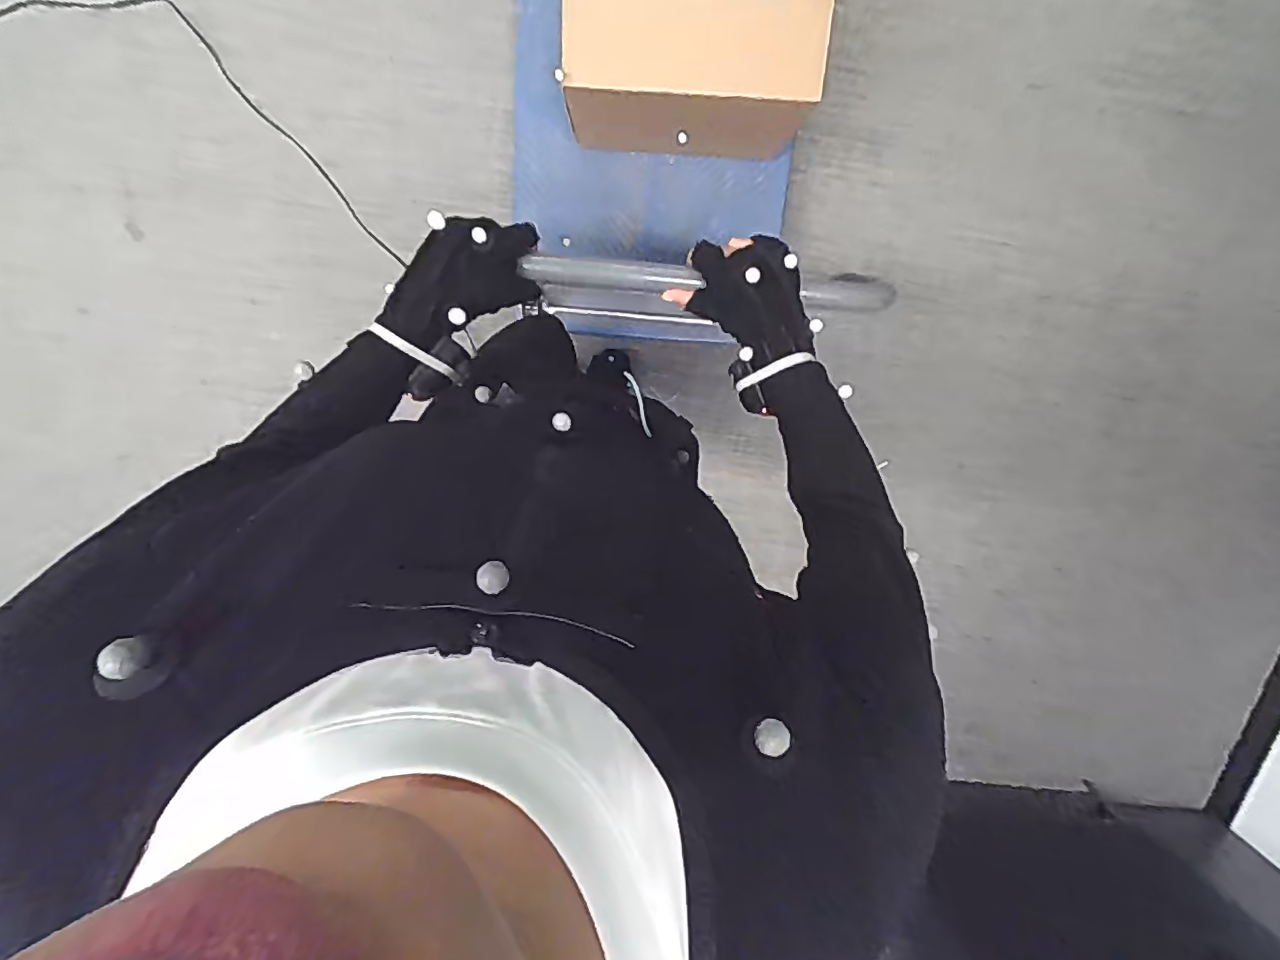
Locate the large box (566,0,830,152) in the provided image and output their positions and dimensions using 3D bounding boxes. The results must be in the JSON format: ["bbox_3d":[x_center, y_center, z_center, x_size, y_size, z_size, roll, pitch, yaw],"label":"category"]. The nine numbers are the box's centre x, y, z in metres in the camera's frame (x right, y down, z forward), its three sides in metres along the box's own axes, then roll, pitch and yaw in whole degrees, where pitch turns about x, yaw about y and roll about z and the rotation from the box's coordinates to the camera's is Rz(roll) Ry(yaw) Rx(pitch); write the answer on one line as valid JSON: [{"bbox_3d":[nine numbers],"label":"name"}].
[{"bbox_3d":[0.088,-0.792,0.942,0.408,0.320,0.320,2,105,-2],"label":"large box"}]
